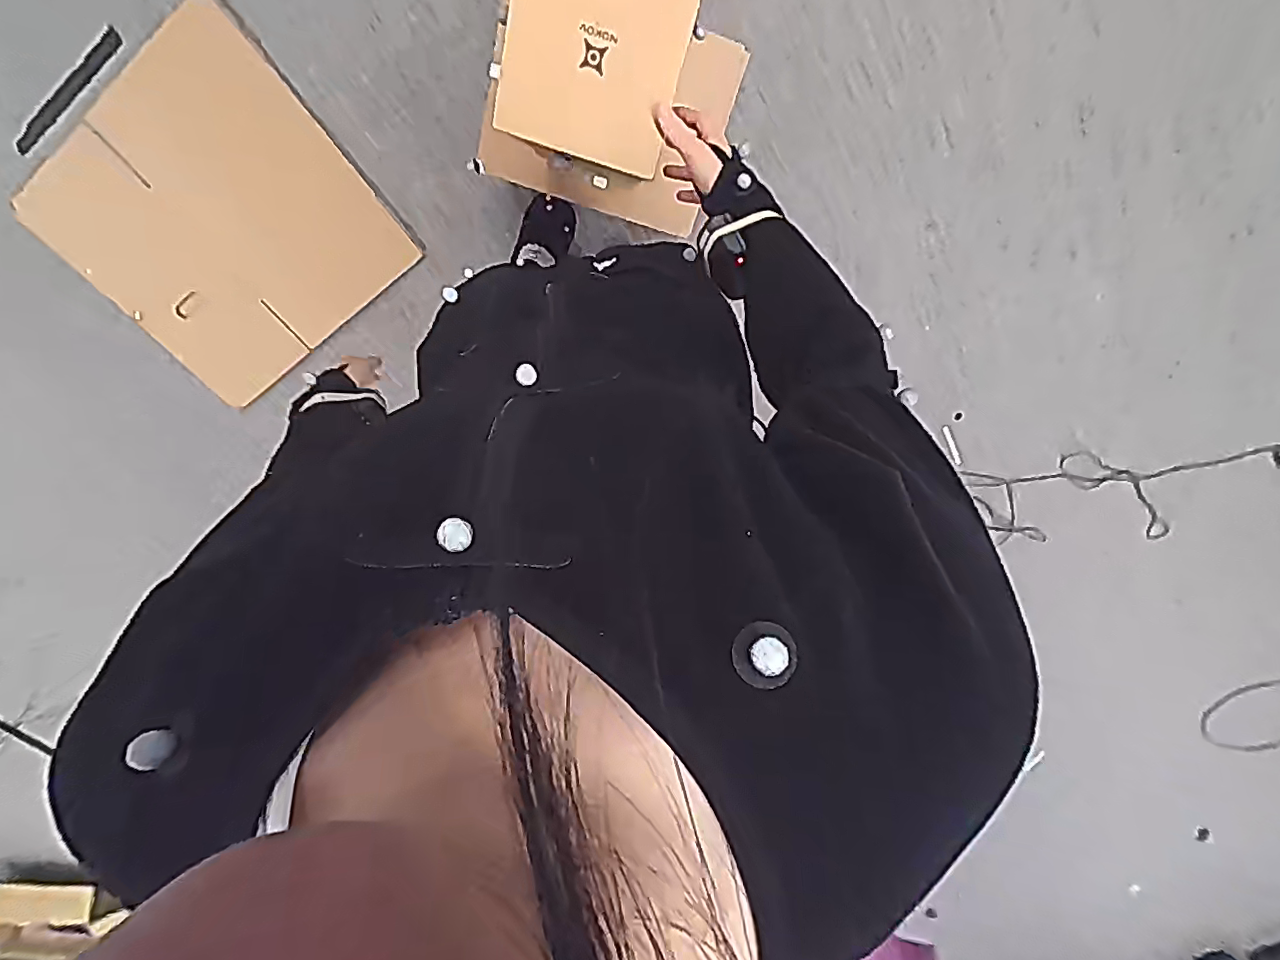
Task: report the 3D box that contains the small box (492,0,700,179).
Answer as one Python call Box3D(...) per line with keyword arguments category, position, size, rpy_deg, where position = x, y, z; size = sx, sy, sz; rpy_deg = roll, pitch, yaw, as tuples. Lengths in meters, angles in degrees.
Box3D(category="small box", position=(-0.043, -0.434, 0.567), size=(0.168, 0.176, 0.179), rpy_deg=(14, 115, -9))
